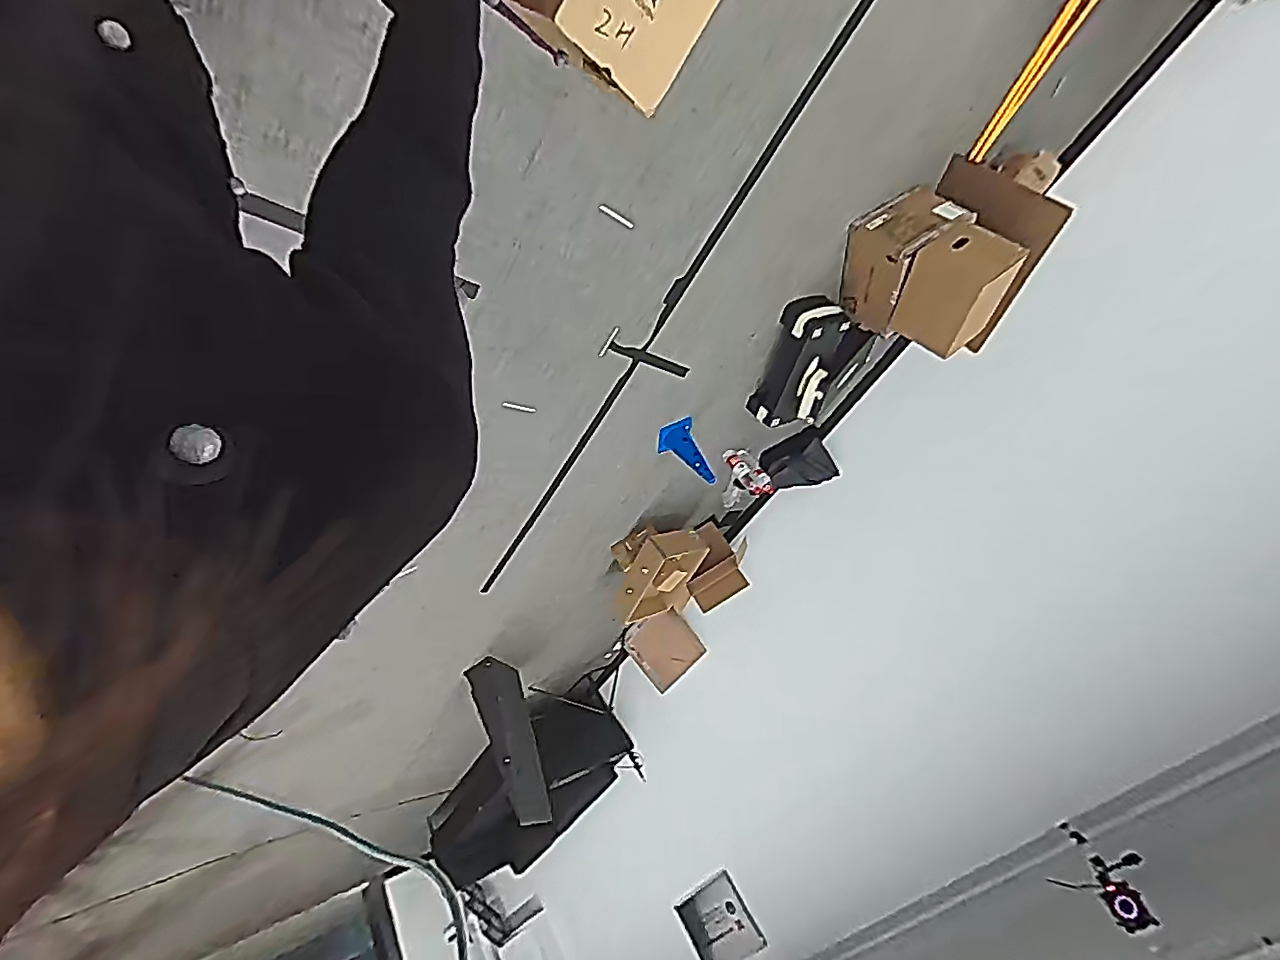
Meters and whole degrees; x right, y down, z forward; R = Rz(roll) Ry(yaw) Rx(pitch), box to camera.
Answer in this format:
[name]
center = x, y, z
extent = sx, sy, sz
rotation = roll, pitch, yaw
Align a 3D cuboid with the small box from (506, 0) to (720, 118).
[small box]
center = -0.033, -0.586, 0.637
extent = 0.168, 0.176, 0.179
rotation = 10, 125, -49
